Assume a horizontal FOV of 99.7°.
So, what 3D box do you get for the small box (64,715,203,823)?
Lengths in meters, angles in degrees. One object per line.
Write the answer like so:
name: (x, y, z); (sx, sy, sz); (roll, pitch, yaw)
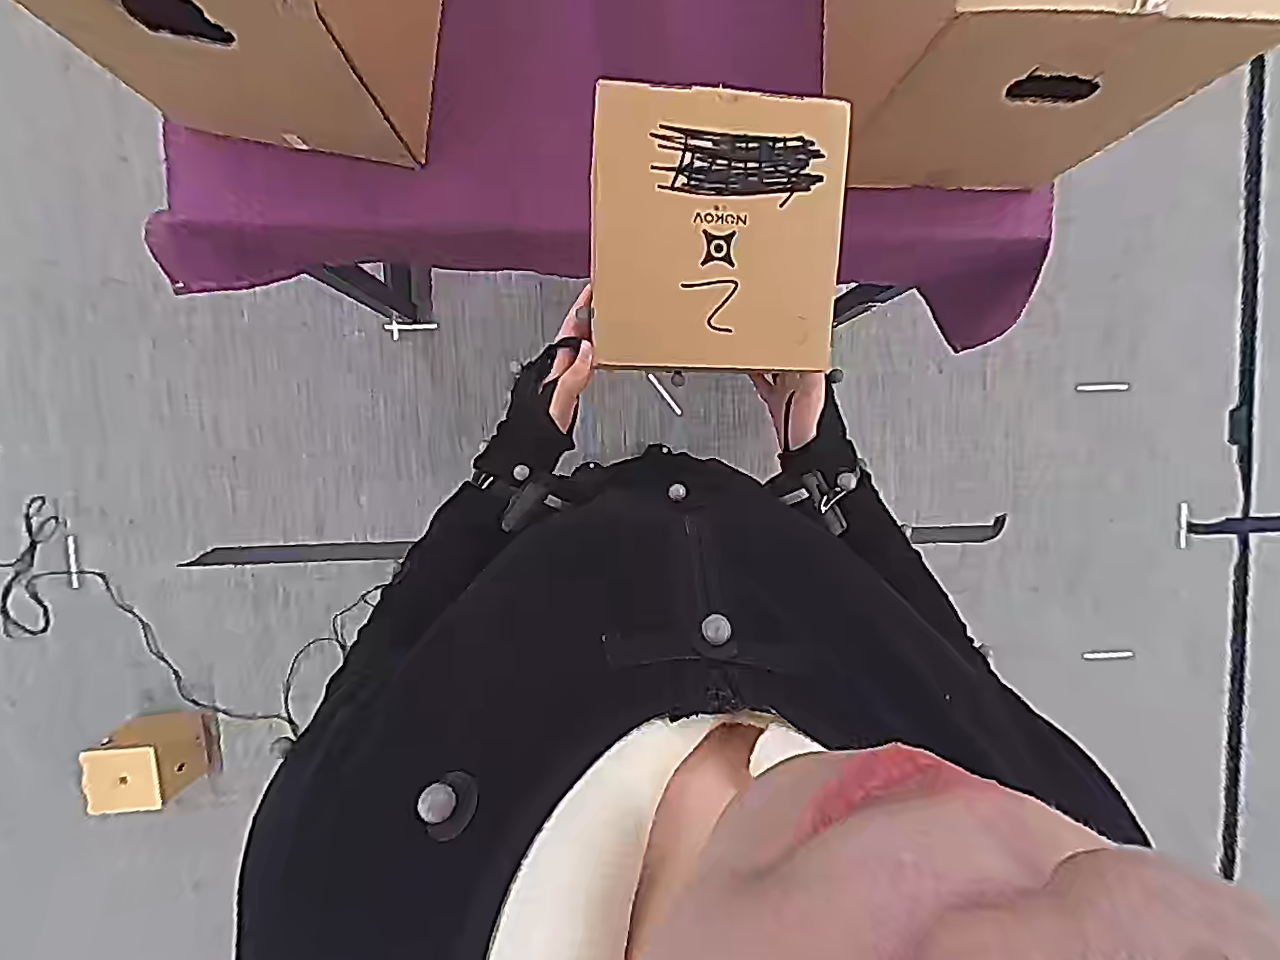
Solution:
small box: (-1.278, 0.727, 1.364); (0.168, 0.176, 0.179); (-2, 114, 15)
